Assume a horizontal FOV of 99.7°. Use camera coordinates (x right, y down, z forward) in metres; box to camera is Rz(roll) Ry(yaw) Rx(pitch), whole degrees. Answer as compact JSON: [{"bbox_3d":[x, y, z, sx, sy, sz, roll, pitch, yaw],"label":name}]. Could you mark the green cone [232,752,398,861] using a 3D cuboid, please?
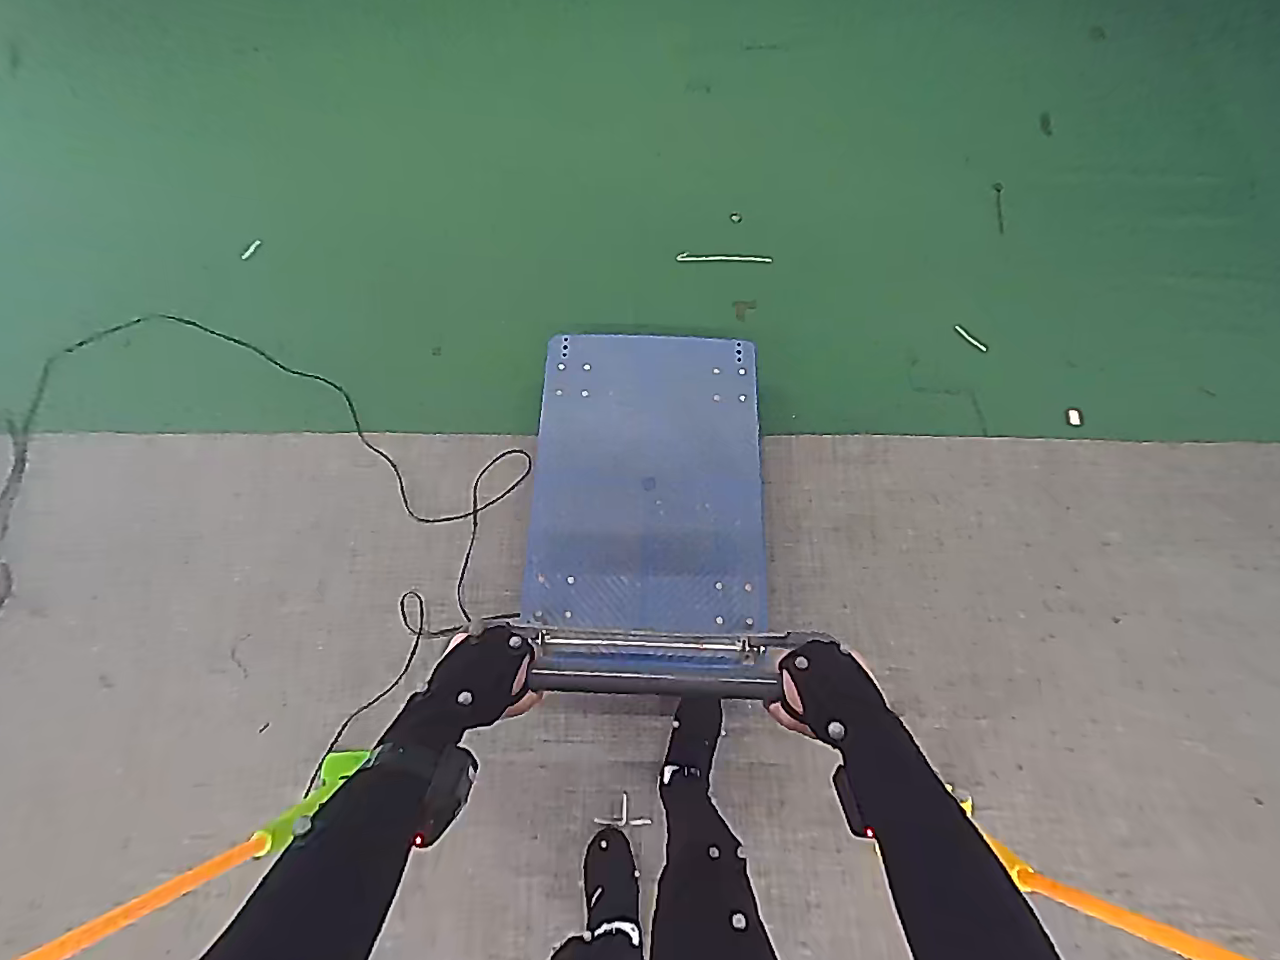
[{"bbox_3d":[-0.679,0.694,1.107,0.202,0.368,0.200,-4,70,1],"label":"green cone"}]
